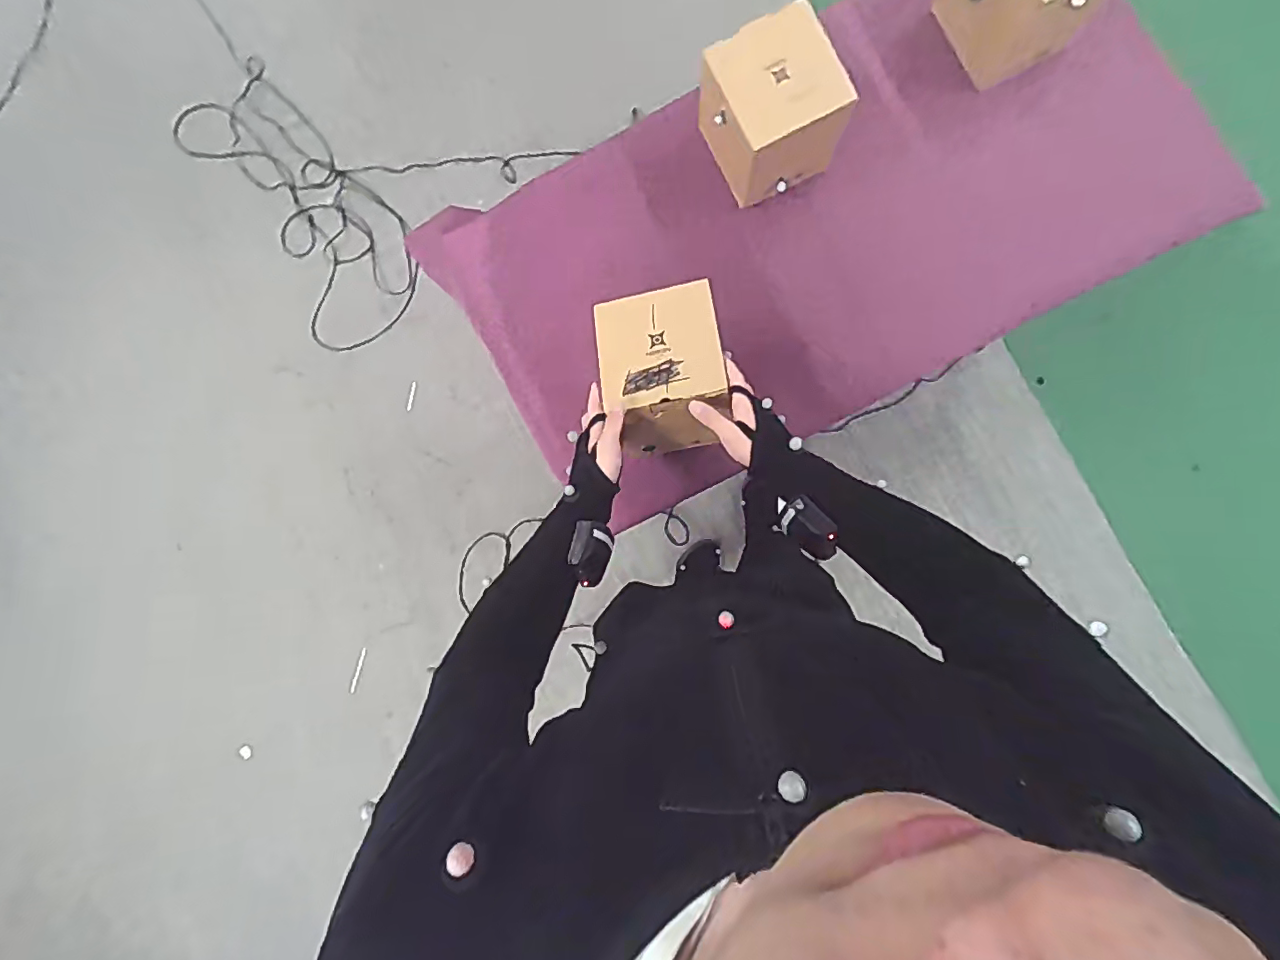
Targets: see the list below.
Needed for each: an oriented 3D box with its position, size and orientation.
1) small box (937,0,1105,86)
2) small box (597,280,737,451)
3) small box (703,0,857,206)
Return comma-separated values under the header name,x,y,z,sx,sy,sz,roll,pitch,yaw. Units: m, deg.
name,x,y,z,sx,sy,sz,roll,pitch,yaw
small box,0.601,-0.771,0.832,0.168,0.176,0.179,-27,85,4
small box,0.045,-0.152,0.790,0.168,0.176,0.179,-10,70,10
small box,0.207,-0.583,0.857,0.168,0.176,0.179,-25,86,4
